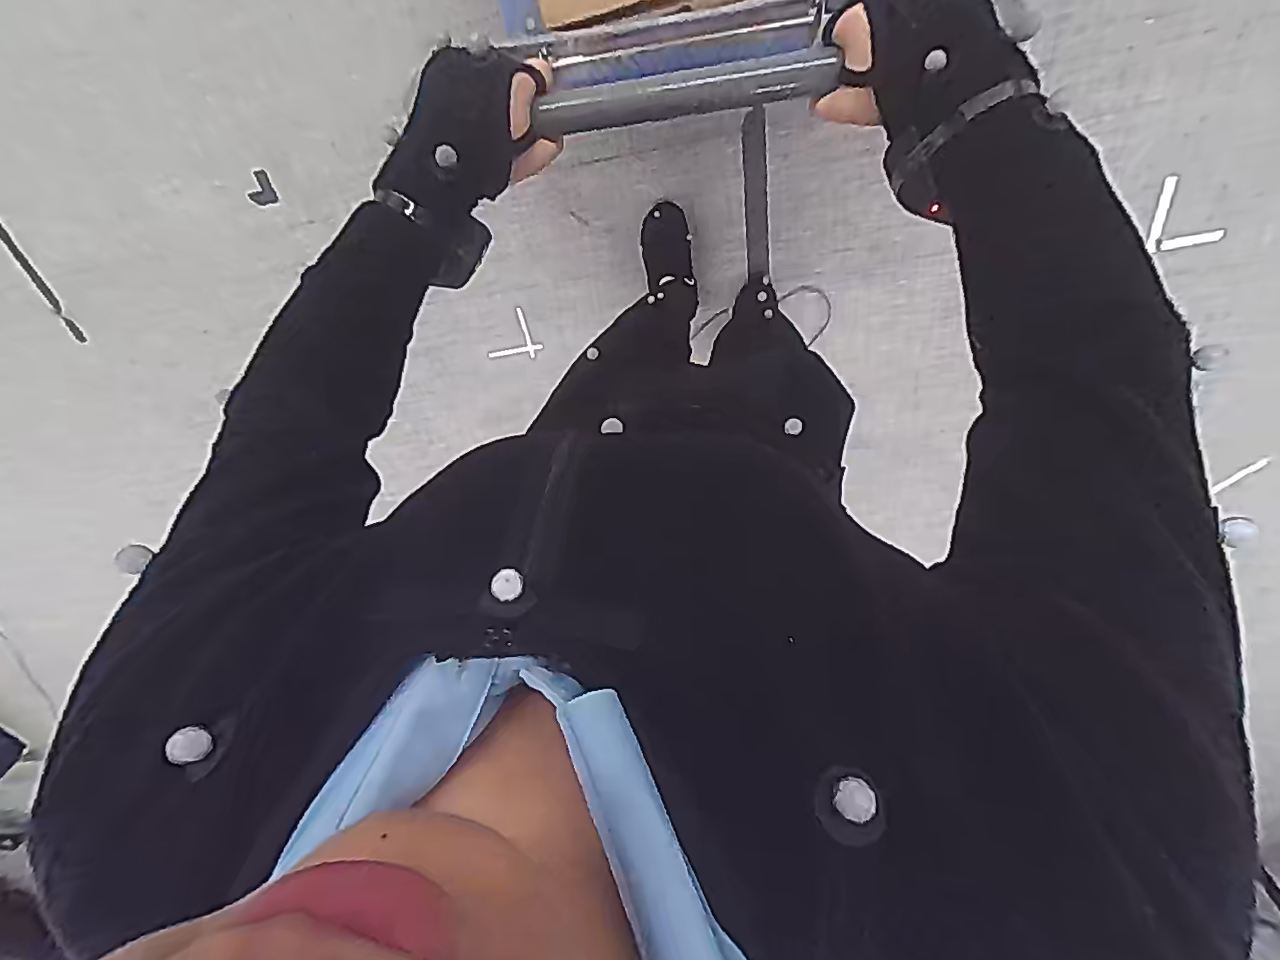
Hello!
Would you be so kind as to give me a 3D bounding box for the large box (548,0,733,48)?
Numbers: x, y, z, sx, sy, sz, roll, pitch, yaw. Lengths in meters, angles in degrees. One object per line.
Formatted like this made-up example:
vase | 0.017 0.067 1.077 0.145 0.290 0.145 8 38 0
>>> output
large box | 0.051 -0.818 0.700 0.408 0.320 0.320 -10 125 9
